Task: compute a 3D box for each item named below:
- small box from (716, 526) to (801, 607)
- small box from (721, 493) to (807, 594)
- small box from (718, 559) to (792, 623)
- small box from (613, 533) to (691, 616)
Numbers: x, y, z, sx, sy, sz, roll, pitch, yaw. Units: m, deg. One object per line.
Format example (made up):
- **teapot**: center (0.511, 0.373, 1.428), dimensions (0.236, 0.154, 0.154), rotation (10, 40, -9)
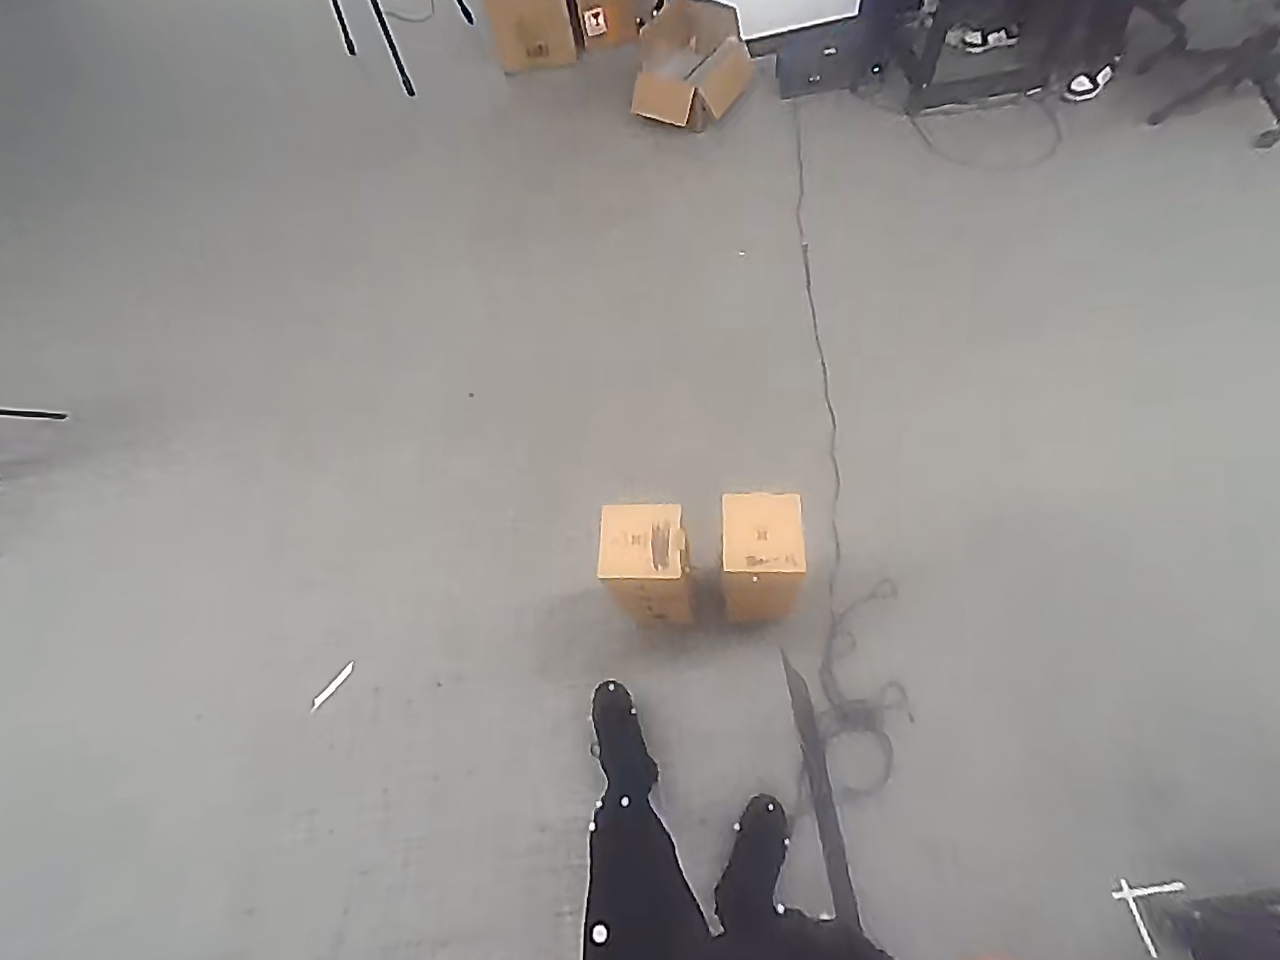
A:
- **small box**: center (0.287, 0.210, 1.334), dimensions (0.179, 0.176, 0.168), rotation (-7, 63, 5)
- **small box**: center (0.264, 0.141, 1.186), dimensions (0.168, 0.176, 0.179), rotation (-1, 63, 8)
- **small box**: center (0.306, 0.280, 1.479), dimensions (0.168, 0.176, 0.179), rotation (-9, 64, 4)
- **small box**: center (0.036, 0.239, 1.349), dimensions (0.179, 0.176, 0.168), rotation (-1, 64, 8)
